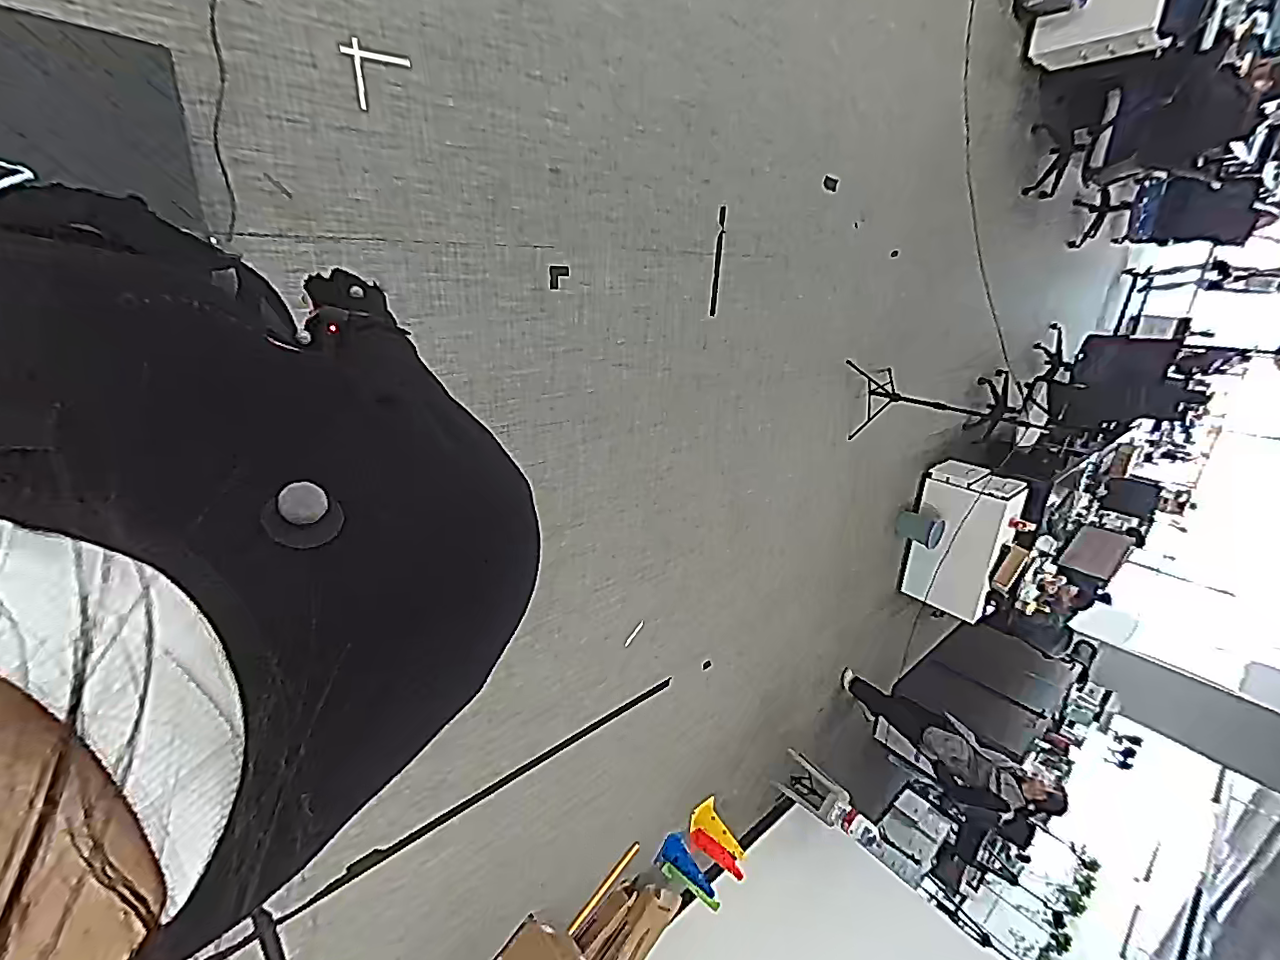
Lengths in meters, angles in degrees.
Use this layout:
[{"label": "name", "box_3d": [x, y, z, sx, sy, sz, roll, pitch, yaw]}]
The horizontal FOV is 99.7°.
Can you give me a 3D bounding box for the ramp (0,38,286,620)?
[{"label": "ramp", "box_3d": [-1.059, -0.270, 1.018, 0.509, 0.206, 0.991, -15, 115, -36]}]
